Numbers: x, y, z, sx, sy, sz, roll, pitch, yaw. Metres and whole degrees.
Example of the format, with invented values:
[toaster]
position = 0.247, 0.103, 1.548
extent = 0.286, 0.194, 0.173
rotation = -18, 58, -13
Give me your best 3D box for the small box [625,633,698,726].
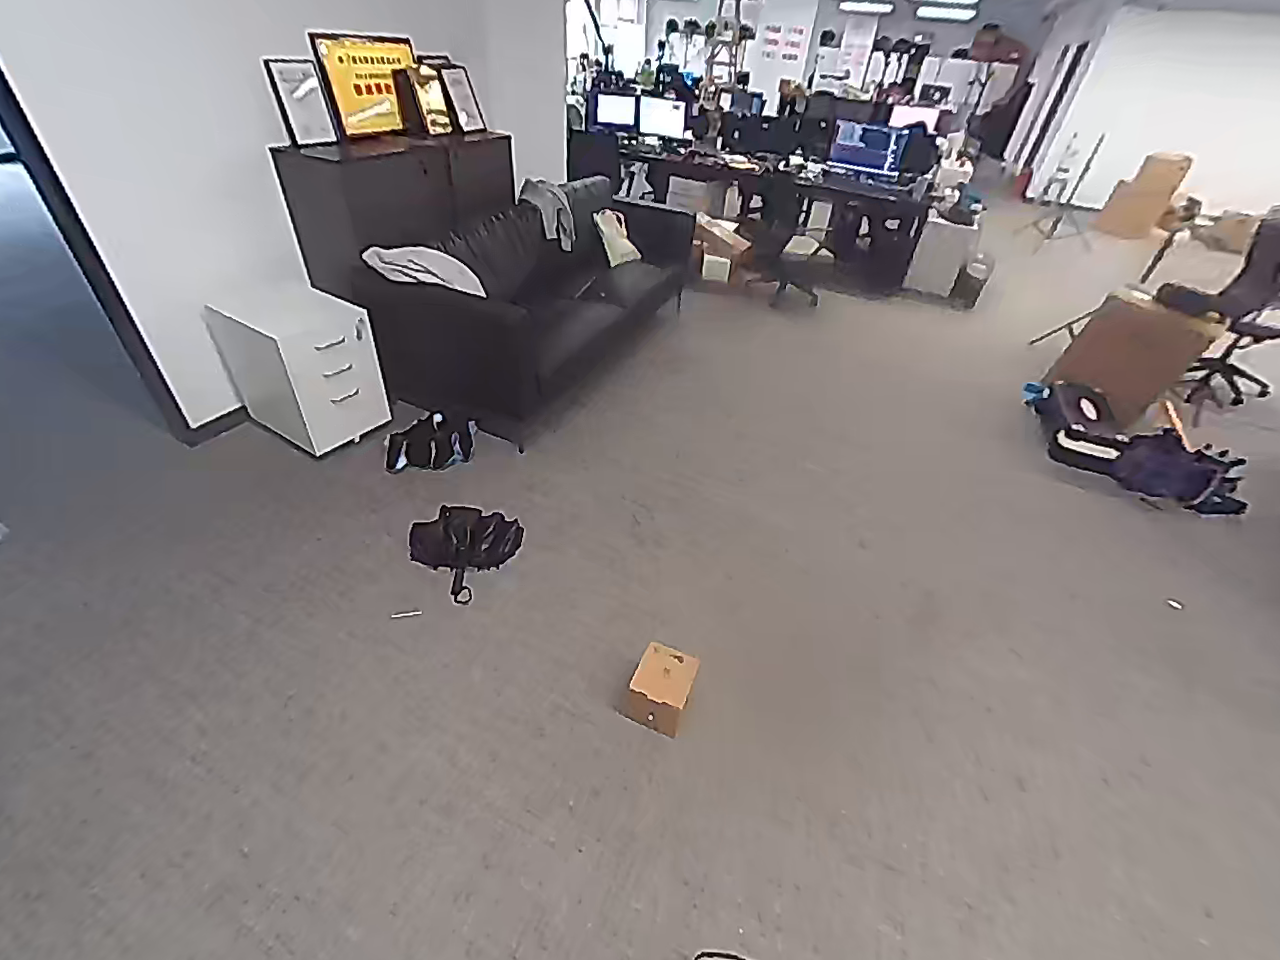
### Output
[small box]
position = 0.062, 0.603, 1.625
extent = 0.168, 0.176, 0.179
rotation = 18, 43, 15
